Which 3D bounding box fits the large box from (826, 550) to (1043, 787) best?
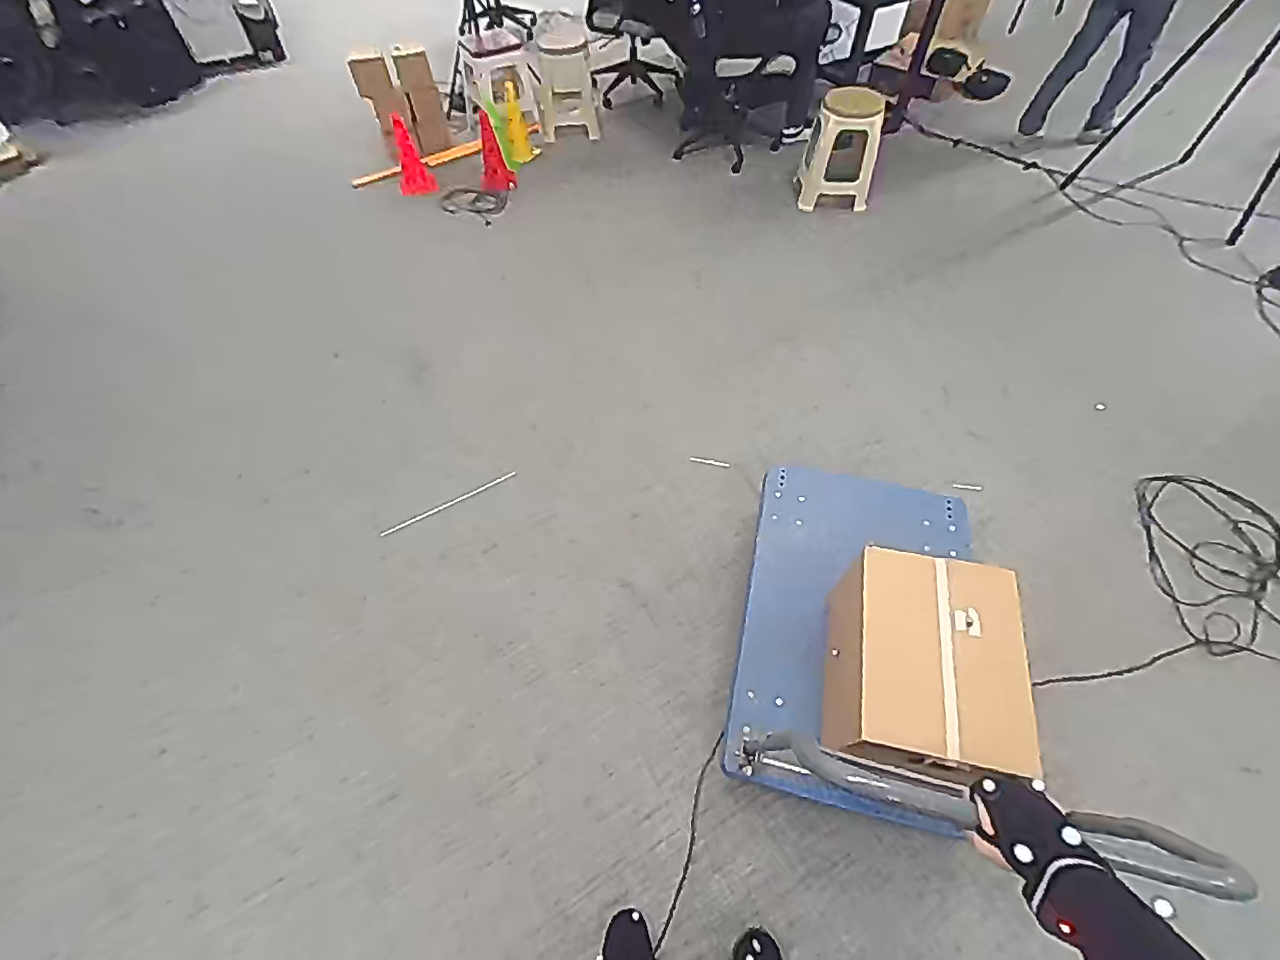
[{"bbox_3d":[0.606,0.420,1.198,0.320,0.320,0.408,10,59,7],"label":"large box"}]
